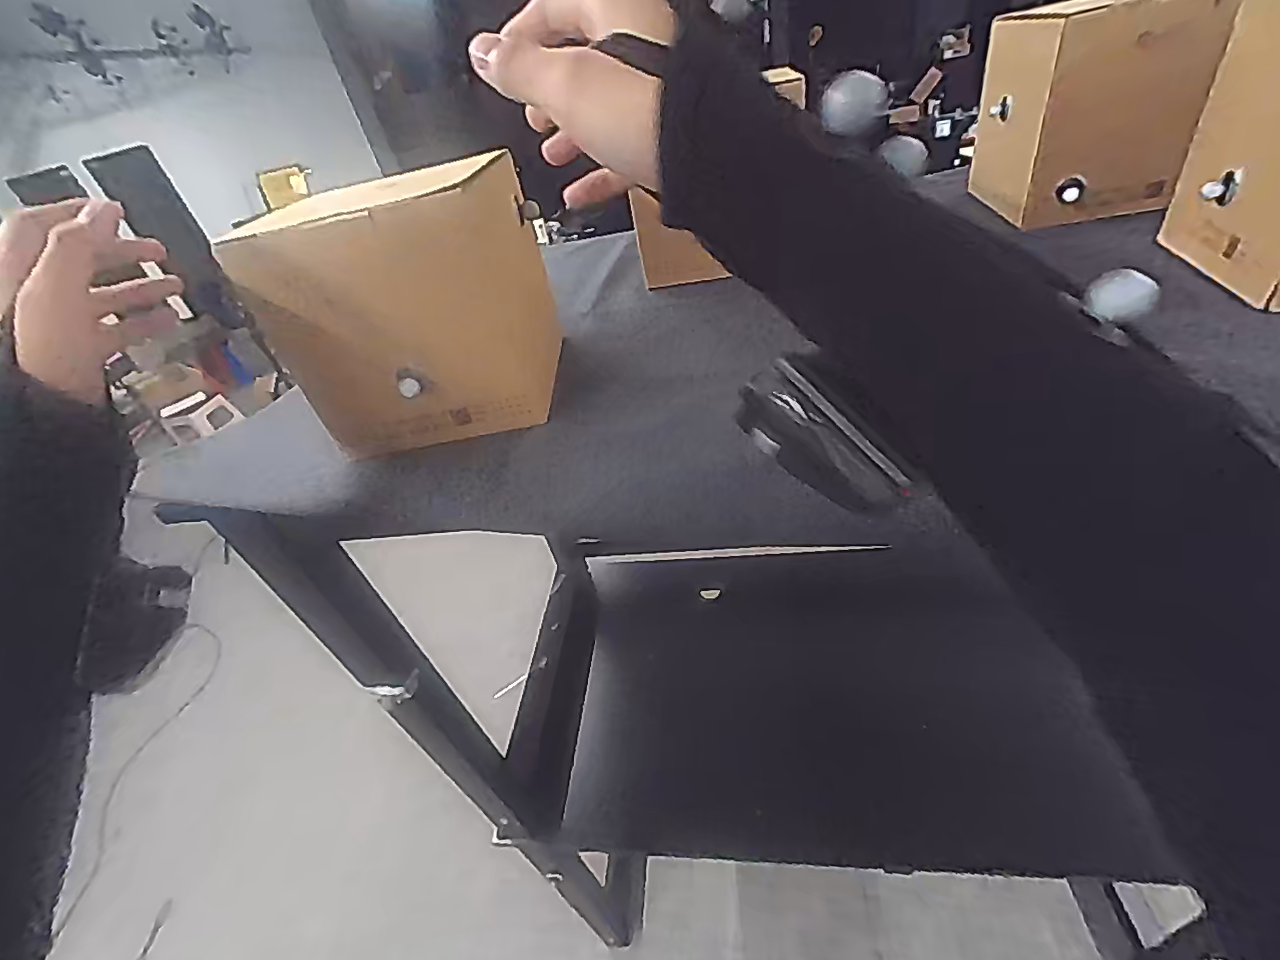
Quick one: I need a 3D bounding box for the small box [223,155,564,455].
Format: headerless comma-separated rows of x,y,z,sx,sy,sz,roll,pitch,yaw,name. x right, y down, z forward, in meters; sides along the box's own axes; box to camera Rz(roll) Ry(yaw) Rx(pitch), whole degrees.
-0.166,-0.144,0.440,0.168,0.176,0.179,-11,37,6,small box

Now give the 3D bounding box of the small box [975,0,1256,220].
0.450,-0.367,0.525,0.168,0.176,0.179,-4,37,14,small box

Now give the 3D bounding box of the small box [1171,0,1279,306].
0.480,-0.216,0.316,0.179,0.176,0.168,1,38,21,small box
